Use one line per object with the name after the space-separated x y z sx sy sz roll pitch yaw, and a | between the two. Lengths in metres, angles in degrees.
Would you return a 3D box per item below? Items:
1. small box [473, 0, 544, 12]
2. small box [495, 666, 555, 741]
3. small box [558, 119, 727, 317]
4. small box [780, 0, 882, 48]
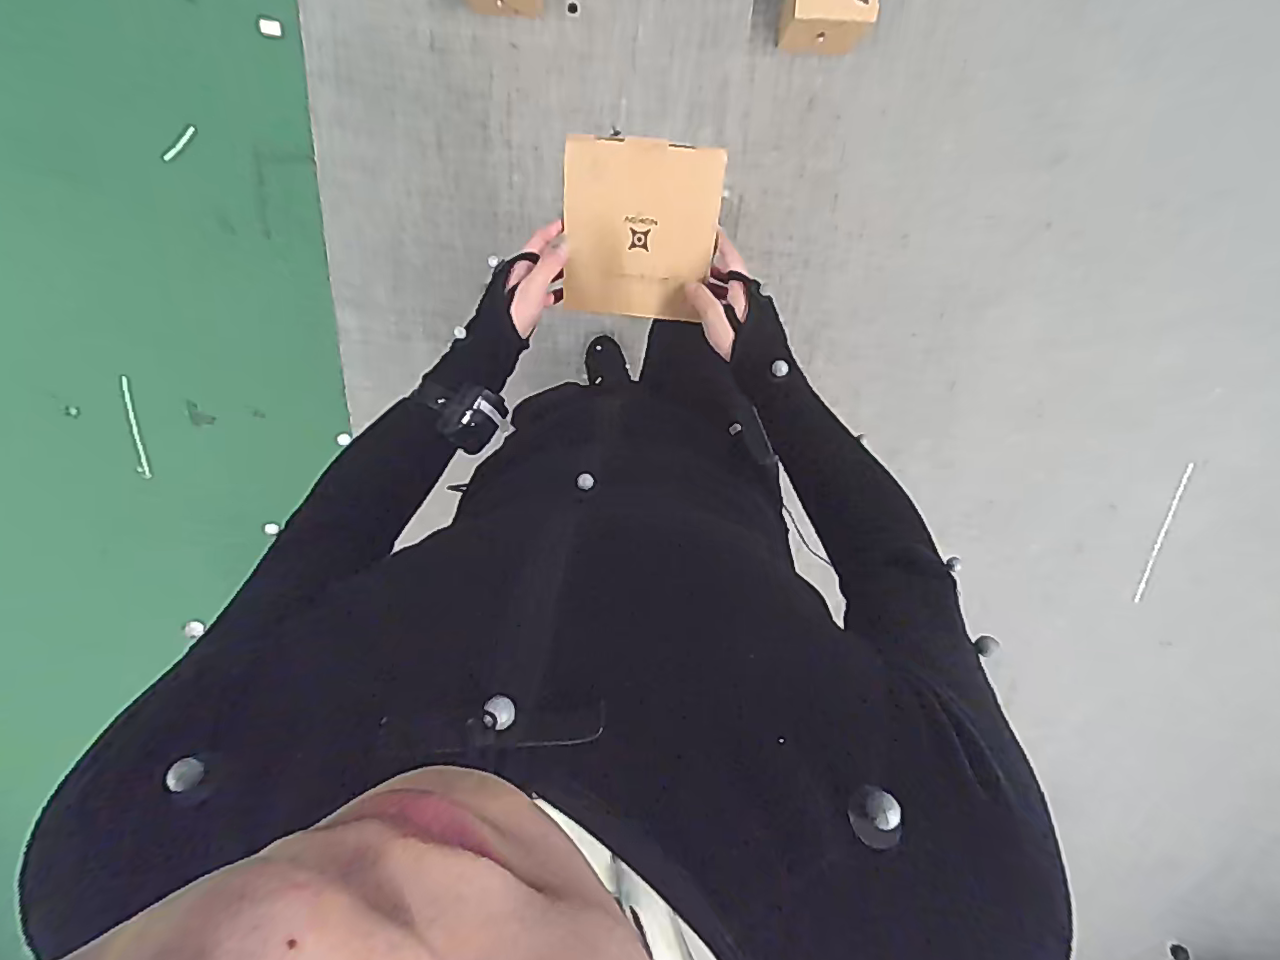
-0.301 -1.141 1.152 0.168 0.176 0.179 2 110 0 | small box
-0.388 0.758 1.844 0.179 0.176 0.168 5 110 -1 | small box
0.000 -0.310 0.638 0.168 0.176 0.179 6 122 0 | small box
0.414 -1.063 1.163 0.179 0.176 0.168 3 110 1 | small box
